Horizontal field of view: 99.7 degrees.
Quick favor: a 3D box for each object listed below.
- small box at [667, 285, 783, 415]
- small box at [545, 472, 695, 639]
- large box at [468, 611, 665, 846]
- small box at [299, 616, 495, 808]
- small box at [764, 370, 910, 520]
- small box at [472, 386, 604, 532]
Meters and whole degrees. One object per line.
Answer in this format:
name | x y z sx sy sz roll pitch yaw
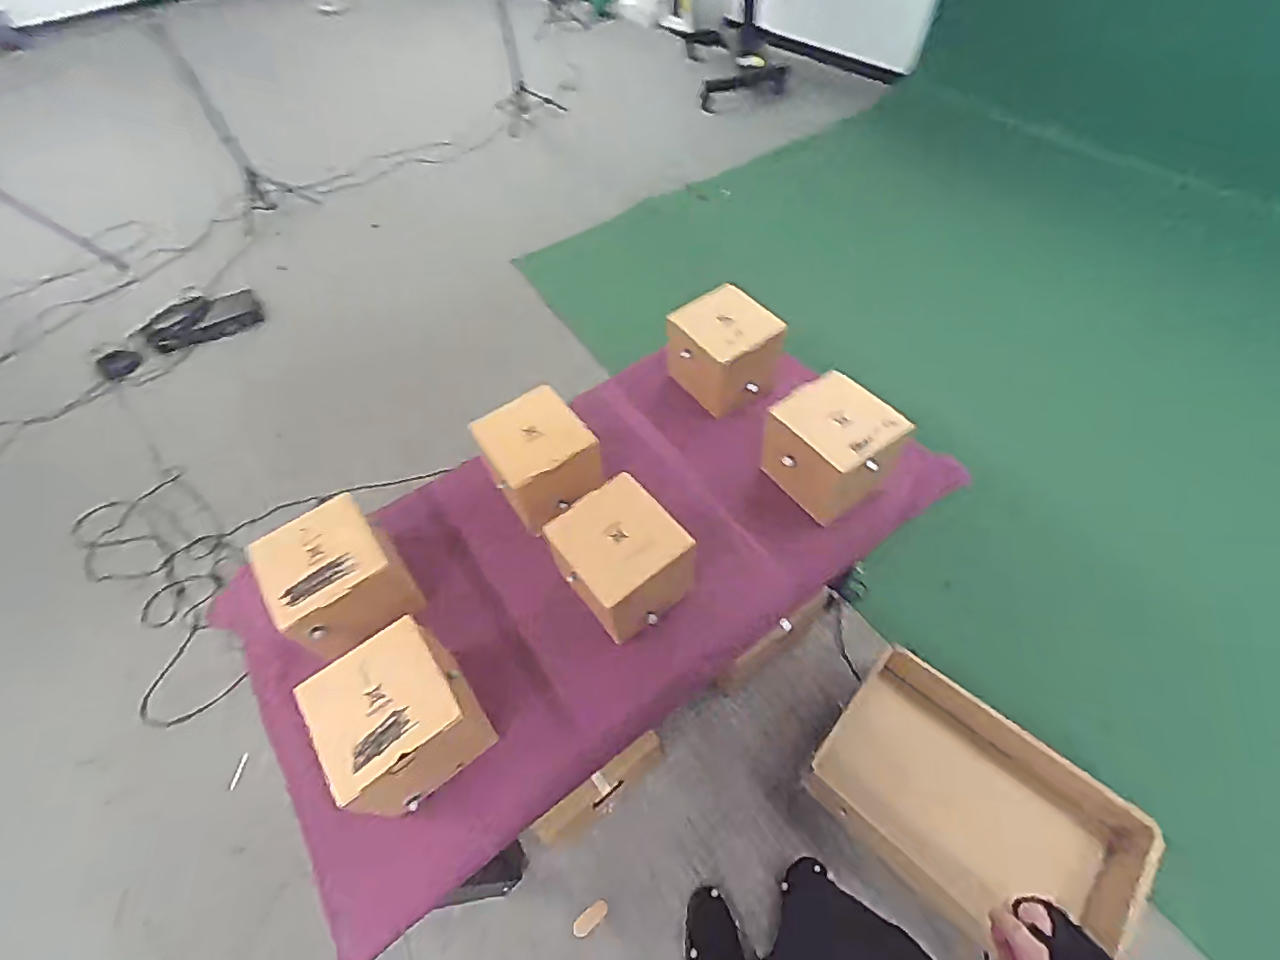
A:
small box | 0.174 -0.271 1.142 0.168 0.176 0.179 -32 60 -14
small box | -0.028 0.127 0.883 0.168 0.176 0.179 -35 59 -17
large box | -0.183 0.621 1.358 0.320 0.320 0.408 -34 58 -19
small box | -0.330 0.331 0.762 0.168 0.176 0.179 -34 58 -19
small box | 0.342 -0.061 0.980 0.168 0.176 0.179 -32 56 -15
small box | -0.184 -0.036 1.013 0.168 0.176 0.179 -32 60 -18
